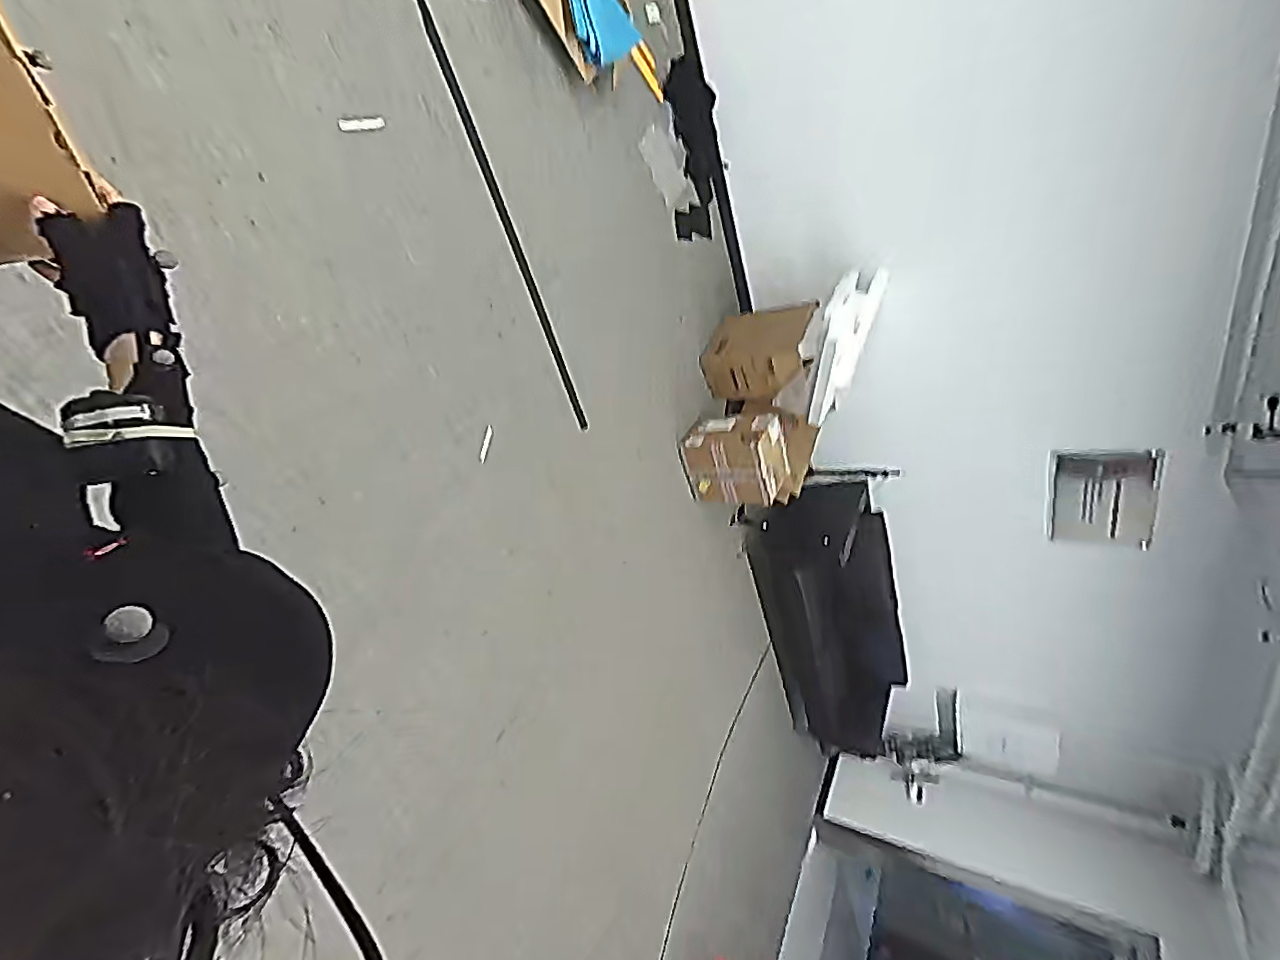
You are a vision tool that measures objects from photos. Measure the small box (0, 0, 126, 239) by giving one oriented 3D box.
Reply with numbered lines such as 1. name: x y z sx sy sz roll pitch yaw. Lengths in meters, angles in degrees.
1. small box: -0.545 -0.291 0.399 0.179 0.176 0.168 -28 146 -30
